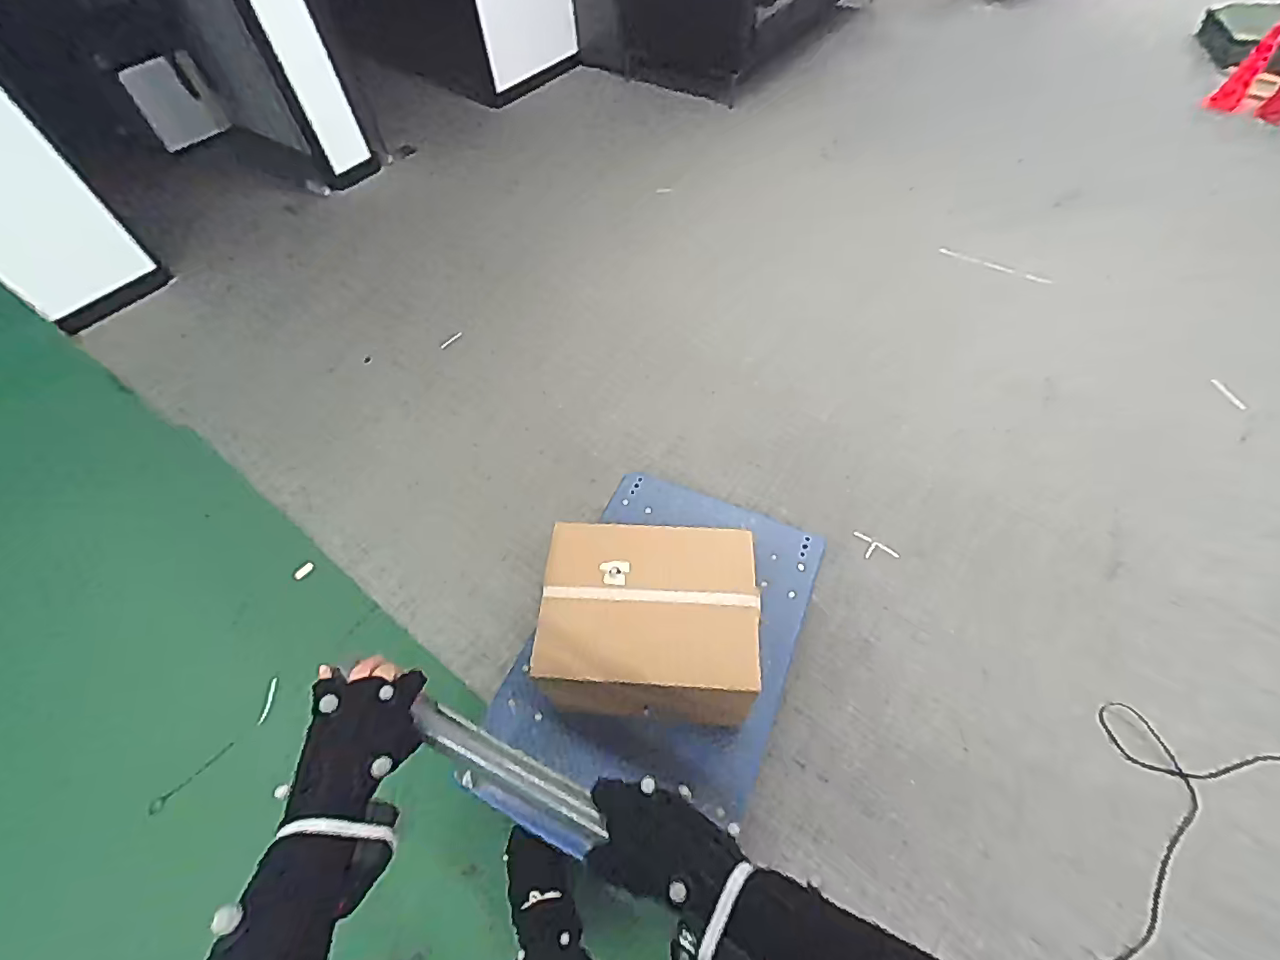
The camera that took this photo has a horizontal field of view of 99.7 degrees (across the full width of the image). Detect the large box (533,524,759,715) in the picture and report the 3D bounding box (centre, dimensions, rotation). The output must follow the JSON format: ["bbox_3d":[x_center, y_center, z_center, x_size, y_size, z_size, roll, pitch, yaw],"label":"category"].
[{"bbox_3d":[0.026,0.302,1.144,0.408,0.320,0.320,1,55,5],"label":"large box"}]
